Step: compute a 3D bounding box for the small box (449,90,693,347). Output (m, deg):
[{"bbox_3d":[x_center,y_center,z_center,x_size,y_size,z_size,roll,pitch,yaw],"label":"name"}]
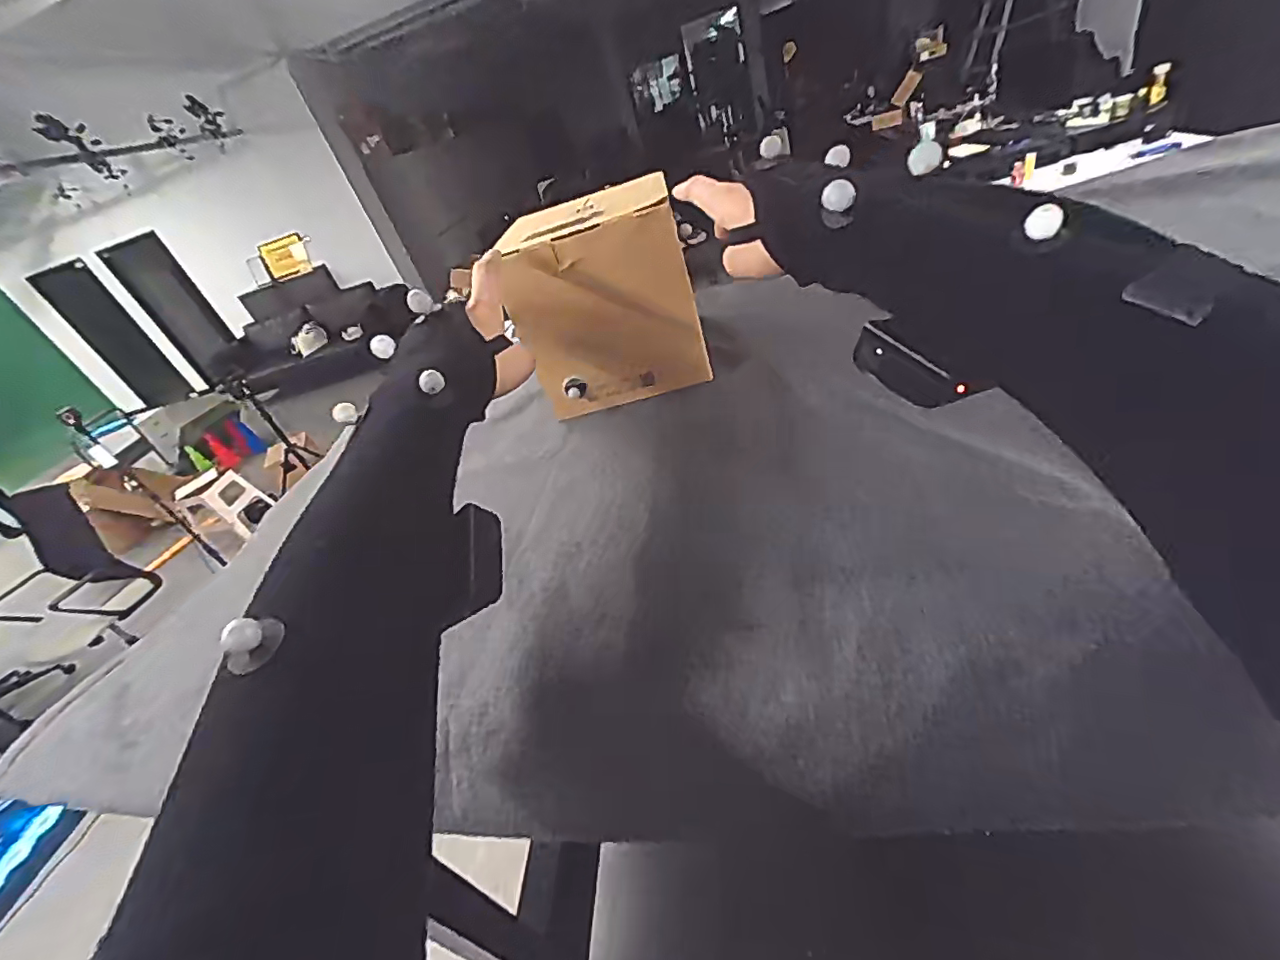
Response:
[{"bbox_3d":[-0.050,-0.244,0.519,0.168,0.176,0.179,-13,36,9],"label":"small box"}]
